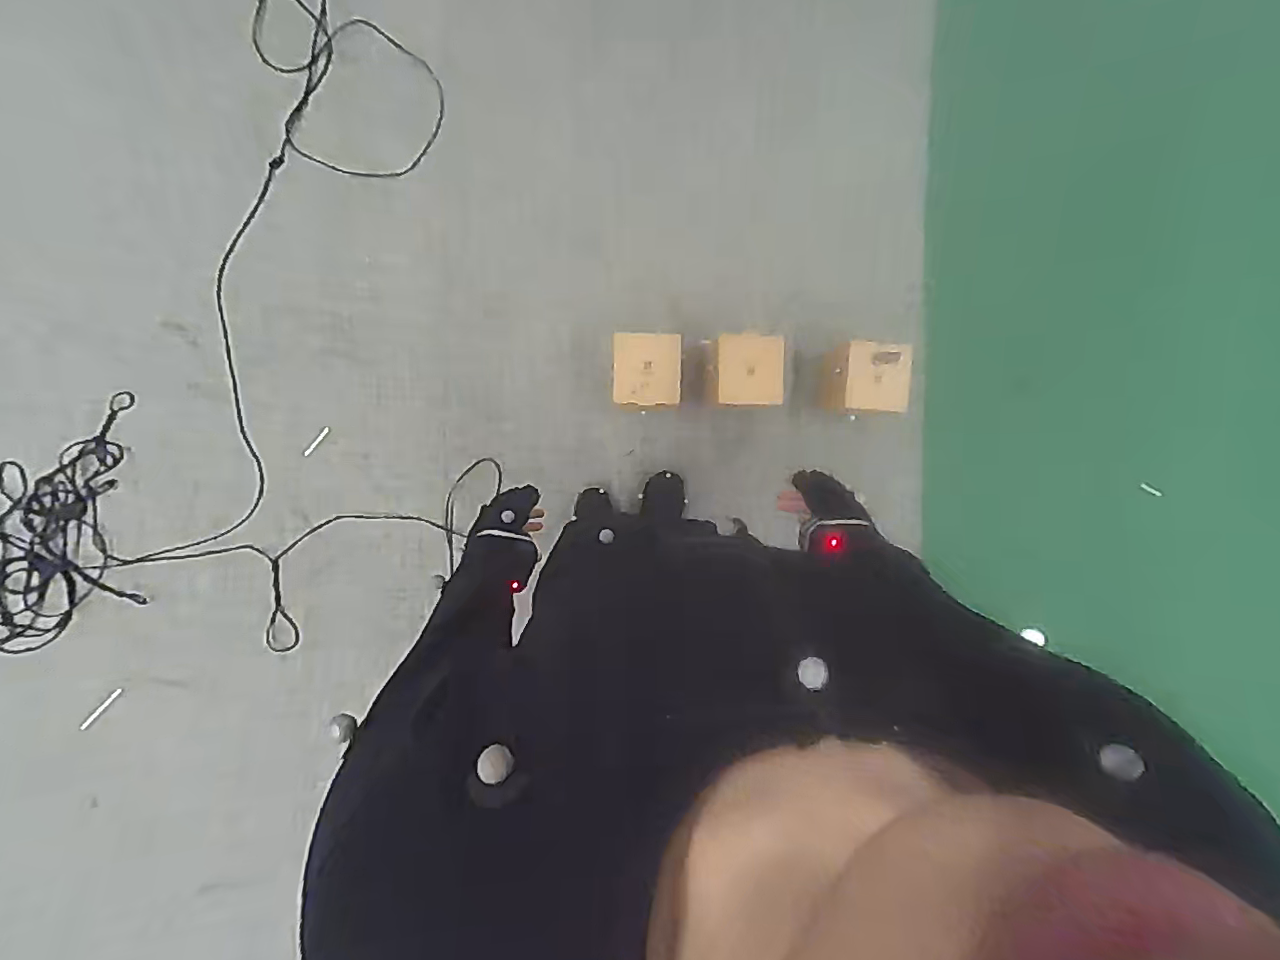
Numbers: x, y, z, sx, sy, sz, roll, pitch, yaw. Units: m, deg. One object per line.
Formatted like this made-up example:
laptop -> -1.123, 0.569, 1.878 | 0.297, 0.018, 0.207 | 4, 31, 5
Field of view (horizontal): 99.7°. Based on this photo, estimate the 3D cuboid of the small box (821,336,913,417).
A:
small box -> 0.592, -0.267, 1.430 | 0.168, 0.176, 0.179 | 4, 92, -4

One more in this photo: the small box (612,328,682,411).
small box -> 0.012, -0.278, 1.388 | 0.168, 0.176, 0.179 | 1, 91, -3

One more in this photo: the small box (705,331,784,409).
small box -> 0.267, -0.279, 1.408 | 0.168, 0.176, 0.179 | 0, 90, -4
